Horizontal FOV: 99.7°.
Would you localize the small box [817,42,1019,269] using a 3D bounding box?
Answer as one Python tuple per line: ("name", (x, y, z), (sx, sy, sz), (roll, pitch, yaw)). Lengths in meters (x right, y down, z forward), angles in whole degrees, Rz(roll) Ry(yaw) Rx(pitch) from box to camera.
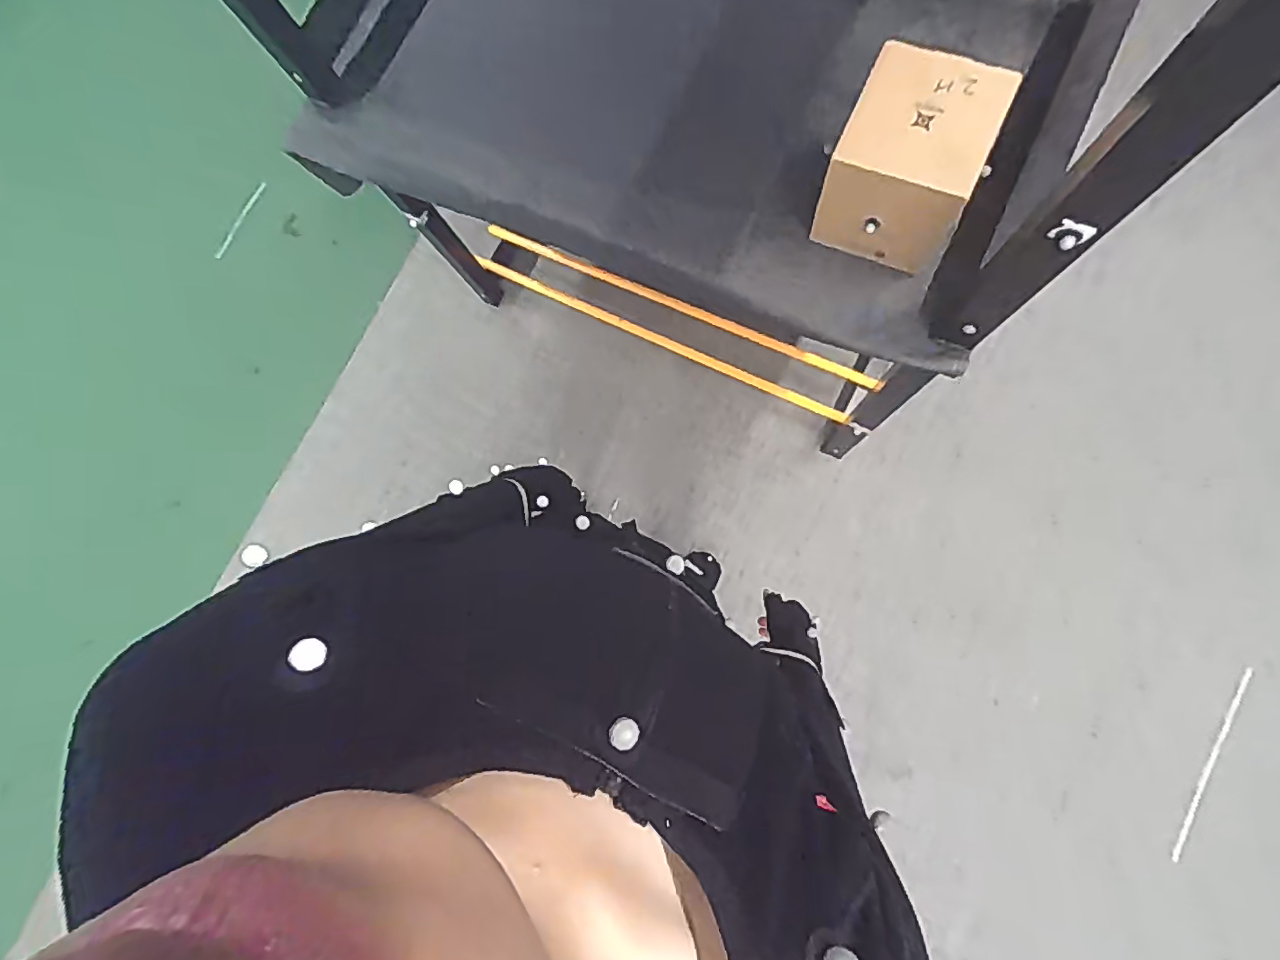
("small box", (0.351, -0.418, 0.722), (0.168, 0.176, 0.179), (24, 85, 11))
